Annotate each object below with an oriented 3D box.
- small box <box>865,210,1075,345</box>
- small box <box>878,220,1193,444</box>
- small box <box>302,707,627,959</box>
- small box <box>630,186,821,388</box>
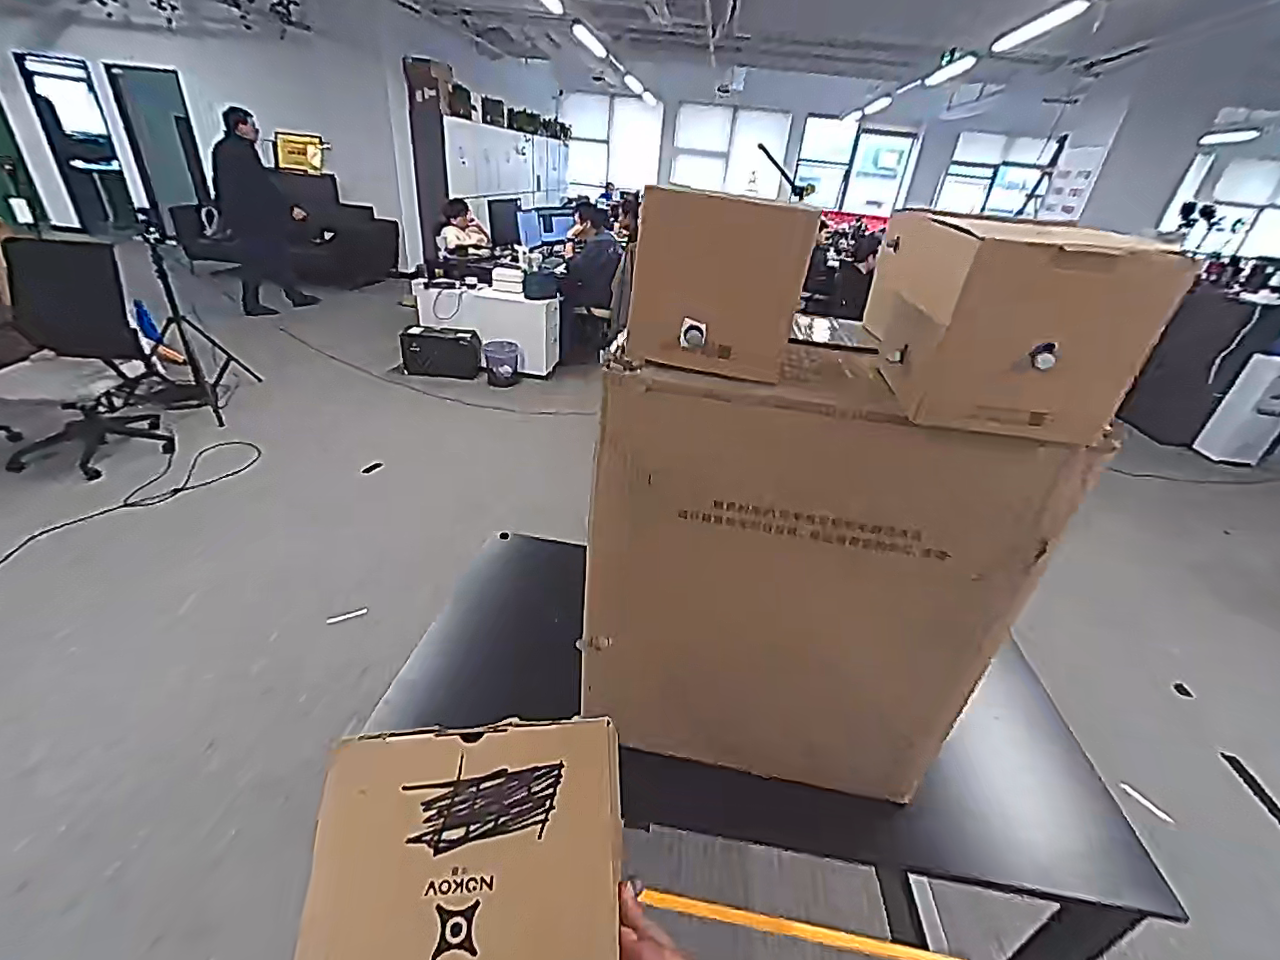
[{"bbox_3d":[0.424,-0.264,0.736,0.168,0.176,0.179,7,27,5],"label":"small box"},{"bbox_3d":[0.357,-0.151,0.537,0.168,0.176,0.179,8,32,5],"label":"small box"},{"bbox_3d":[-0.093,0.259,0.359,0.168,0.176,0.179,-3,62,-2],"label":"small box"},{"bbox_3d":[0.086,-0.219,0.602,0.168,0.176,0.179,10,31,4],"label":"small box"}]
